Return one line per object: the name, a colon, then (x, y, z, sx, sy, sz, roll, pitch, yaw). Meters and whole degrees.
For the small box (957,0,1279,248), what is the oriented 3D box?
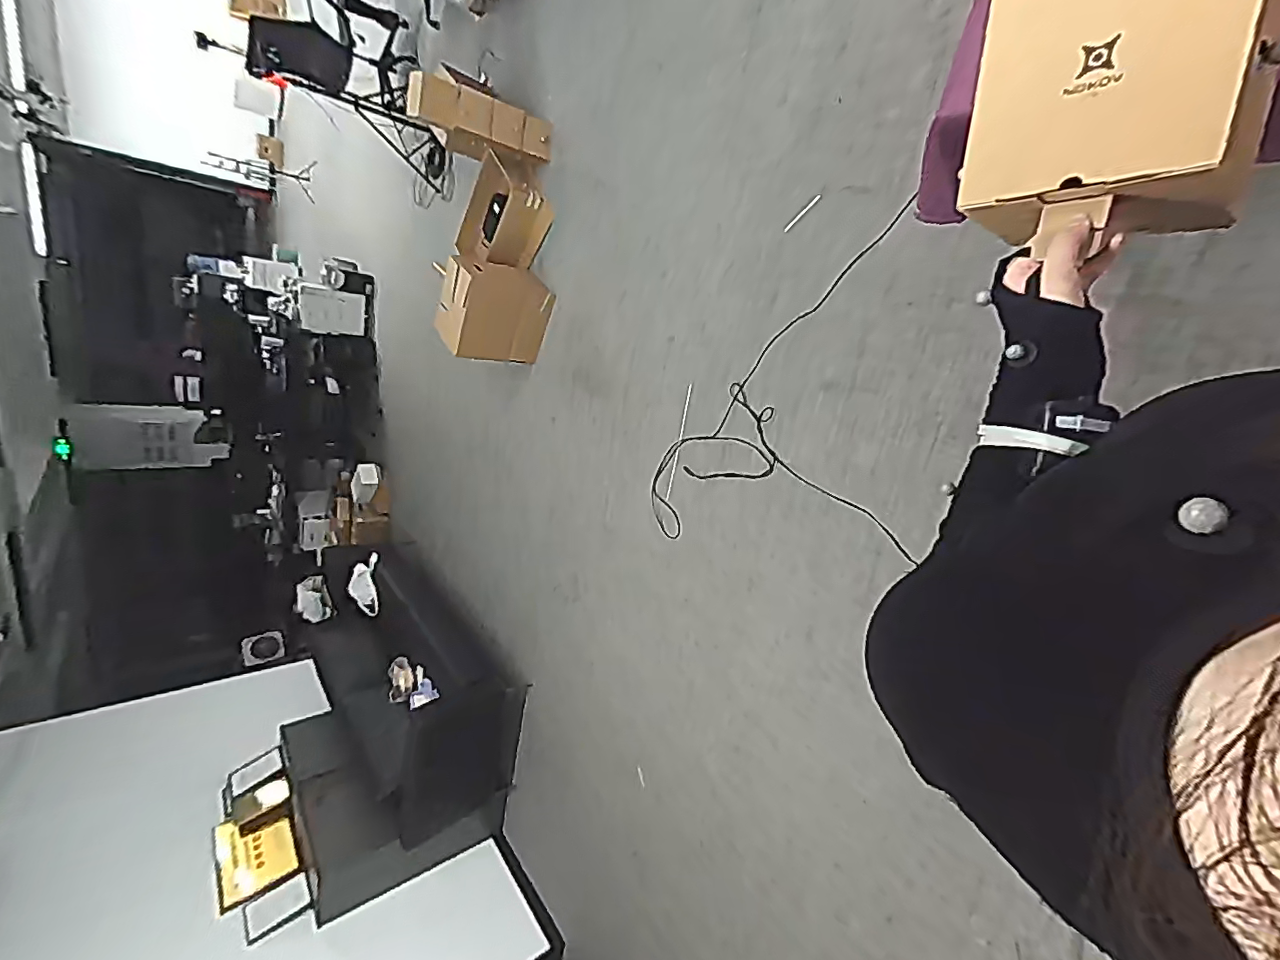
small box: (0.401, -0.312, 0.456, 0.168, 0.176, 0.179, 17, 107, 47)
